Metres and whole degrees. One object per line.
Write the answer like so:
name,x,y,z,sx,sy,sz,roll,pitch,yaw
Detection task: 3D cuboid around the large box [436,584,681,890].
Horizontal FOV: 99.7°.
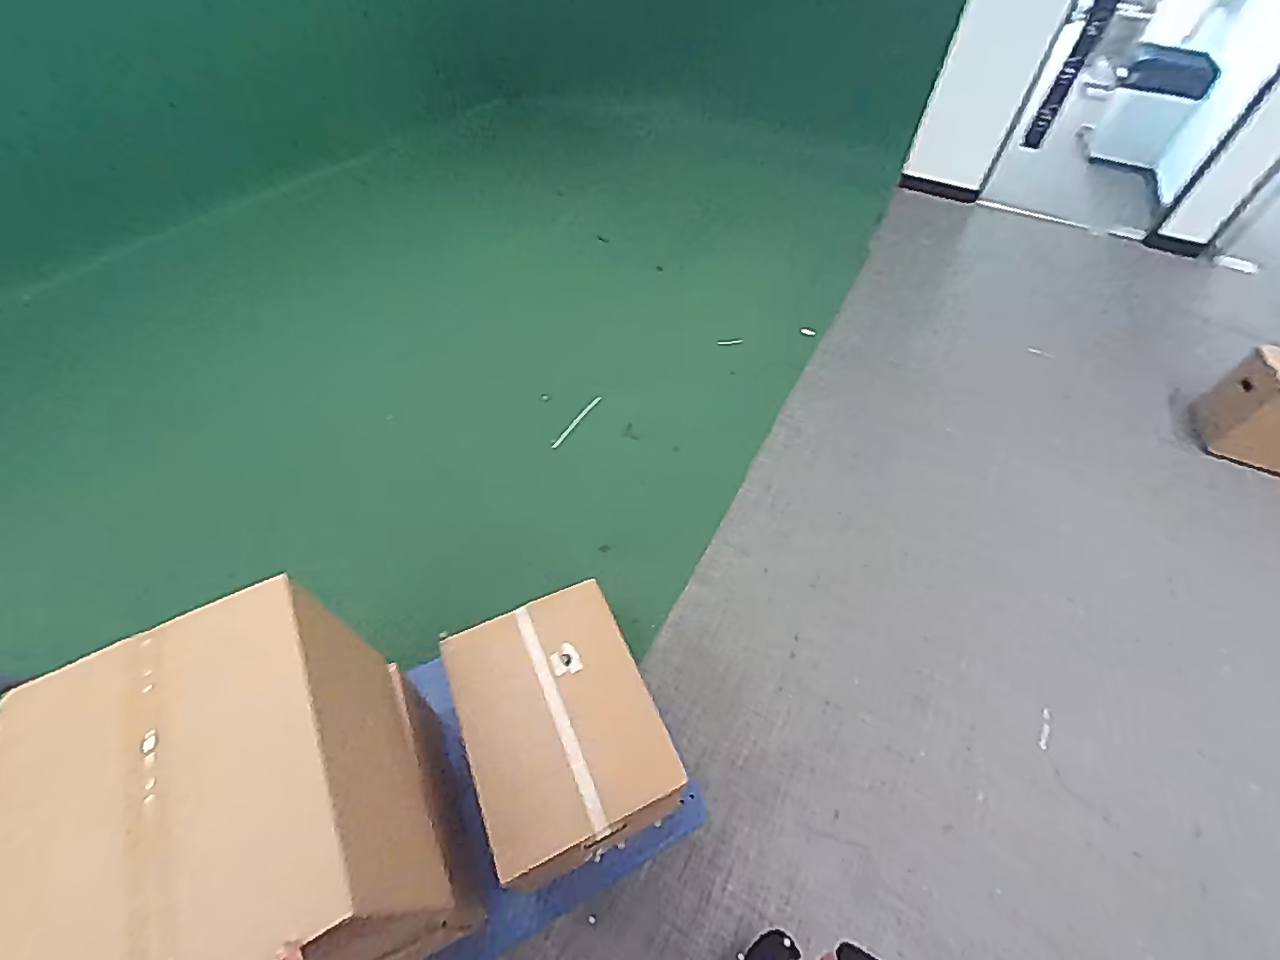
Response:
large box,-0.154,0.488,1.046,0.320,0.320,0.408,-20,54,-16
